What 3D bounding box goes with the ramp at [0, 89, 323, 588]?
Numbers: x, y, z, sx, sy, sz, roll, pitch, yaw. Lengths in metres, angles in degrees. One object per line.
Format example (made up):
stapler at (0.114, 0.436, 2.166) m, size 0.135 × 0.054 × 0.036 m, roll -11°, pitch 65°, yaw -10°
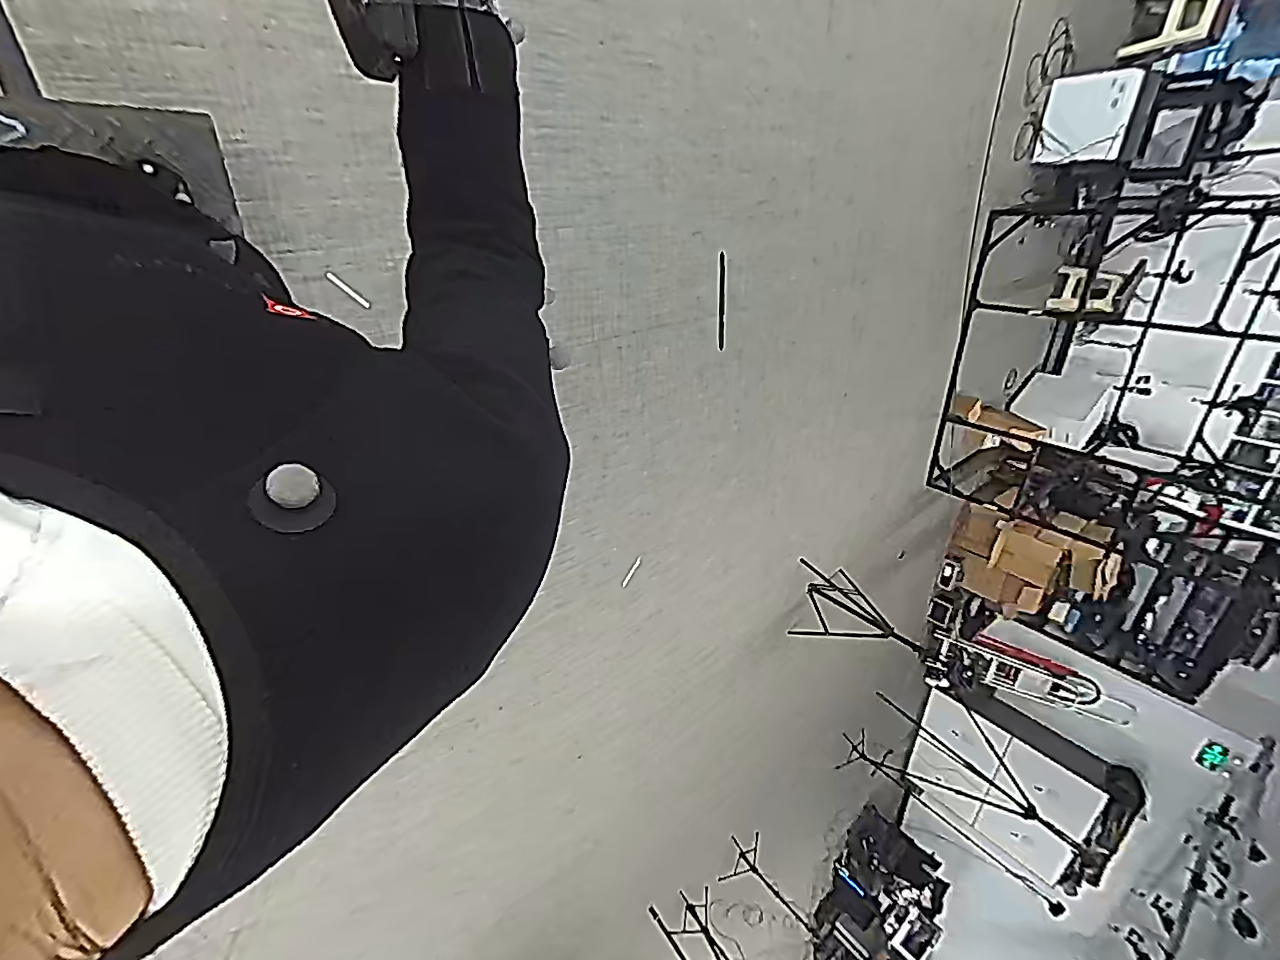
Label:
ramp at (-1.044, -0.216, 1.141) m, size 0.509 × 0.206 × 0.991 m, roll -22°, pitch 124°, yaw -34°
